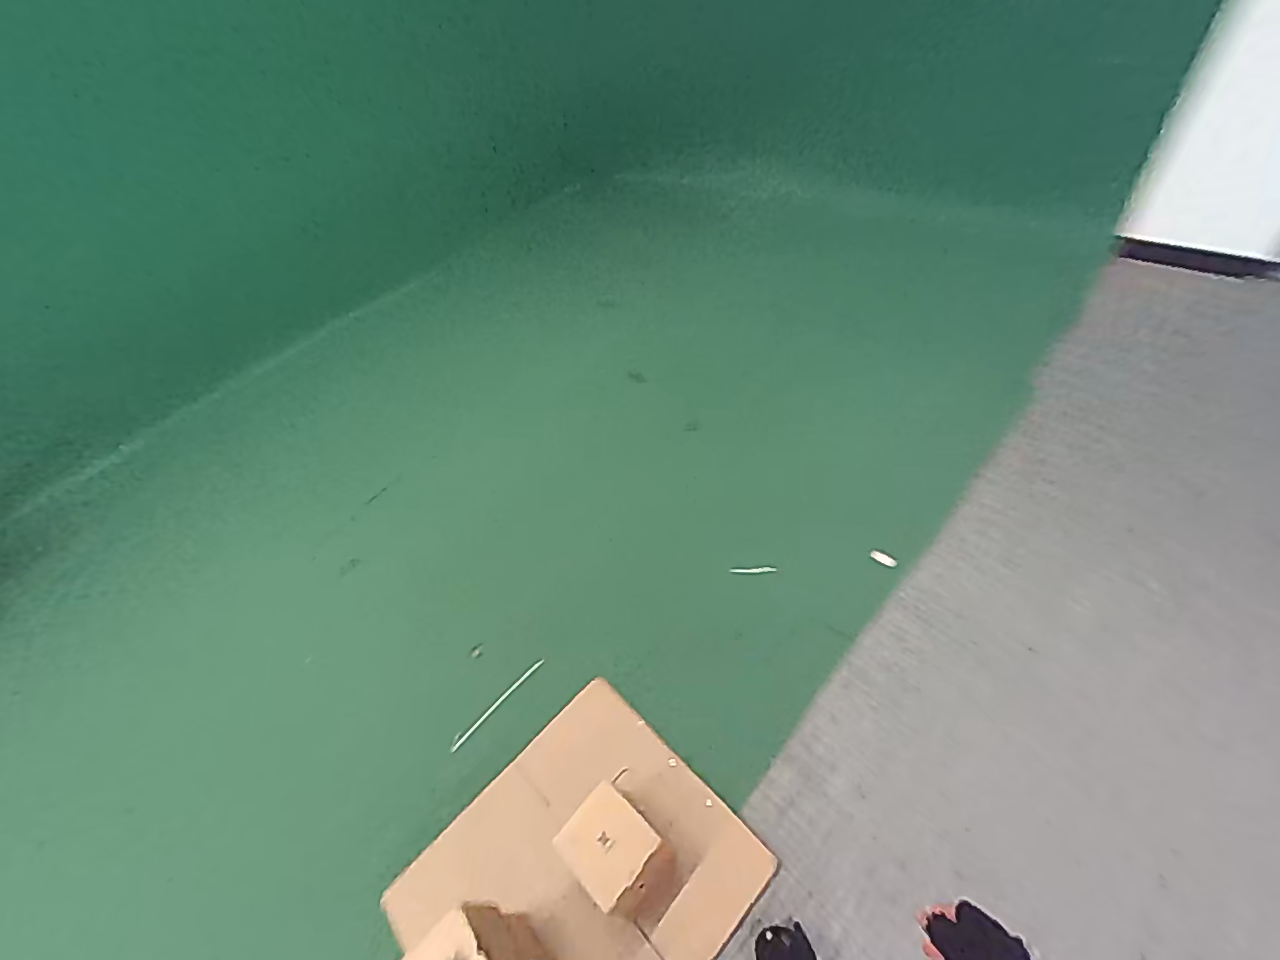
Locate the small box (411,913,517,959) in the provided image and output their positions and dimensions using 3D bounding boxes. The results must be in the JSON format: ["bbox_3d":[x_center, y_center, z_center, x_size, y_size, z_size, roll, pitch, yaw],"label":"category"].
[{"bbox_3d":[-0.307,0.884,0.919,0.179,0.176,0.168,-41,53,-18],"label":"small box"}]

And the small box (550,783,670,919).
[{"bbox_3d":[-0.057,0.795,1.155,0.179,0.176,0.168,32,64,32],"label":"small box"}]
